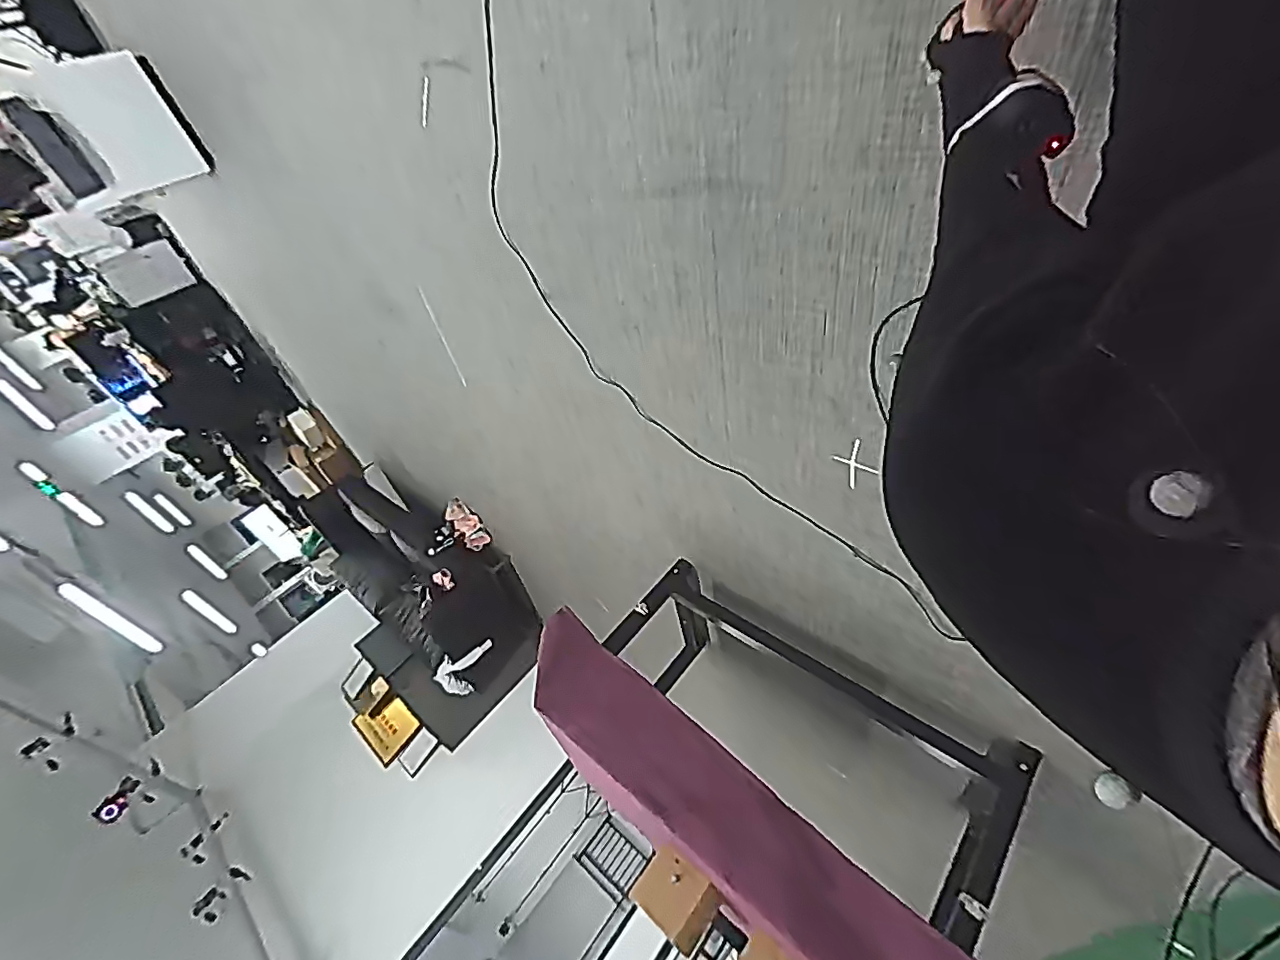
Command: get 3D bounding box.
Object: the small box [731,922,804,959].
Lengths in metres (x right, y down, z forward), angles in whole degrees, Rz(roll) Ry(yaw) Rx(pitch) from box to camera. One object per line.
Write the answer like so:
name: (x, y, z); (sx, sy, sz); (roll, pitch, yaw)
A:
small box: (0.323, 1.258, 1.356); (0.179, 0.176, 0.168); (24, 145, 37)

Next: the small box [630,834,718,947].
small box: (0.103, 1.160, 1.534); (0.168, 0.176, 0.179); (19, 140, 41)
